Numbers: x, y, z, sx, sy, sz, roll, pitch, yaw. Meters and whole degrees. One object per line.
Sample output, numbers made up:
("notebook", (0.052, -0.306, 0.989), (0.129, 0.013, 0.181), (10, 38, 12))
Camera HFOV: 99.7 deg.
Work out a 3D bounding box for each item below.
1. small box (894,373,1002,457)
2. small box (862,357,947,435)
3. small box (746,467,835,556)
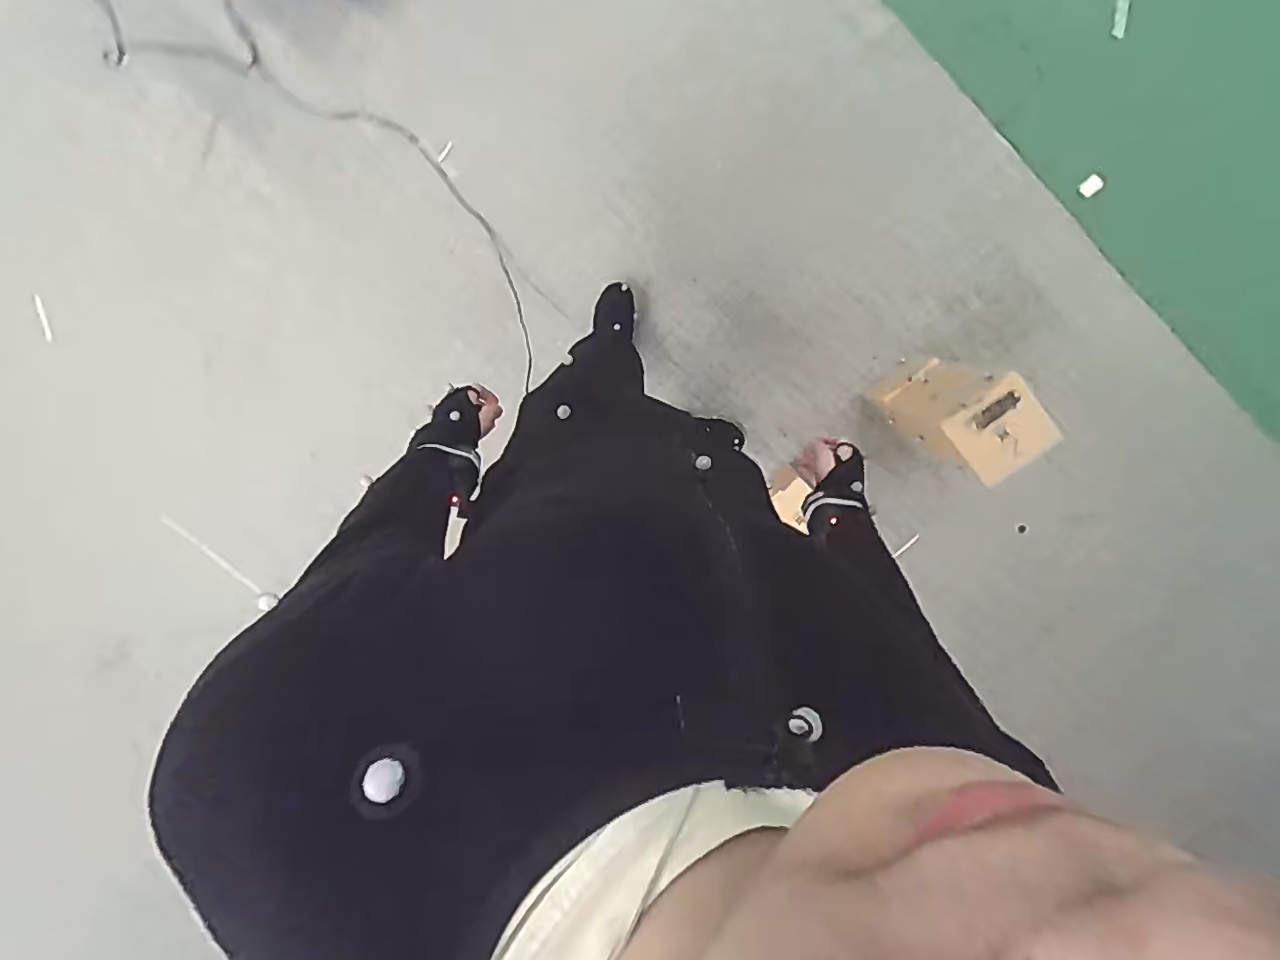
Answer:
("small box", (0.731, -0.161, 1.299), (0.179, 0.176, 0.168), (-8, 102, 7))
("small box", (0.729, -0.212, 1.446), (0.168, 0.176, 0.179), (-40, 99, 14))
("small box", (0.421, 0.081, 1.548), (0.168, 0.176, 0.179), (-42, 96, 14))
